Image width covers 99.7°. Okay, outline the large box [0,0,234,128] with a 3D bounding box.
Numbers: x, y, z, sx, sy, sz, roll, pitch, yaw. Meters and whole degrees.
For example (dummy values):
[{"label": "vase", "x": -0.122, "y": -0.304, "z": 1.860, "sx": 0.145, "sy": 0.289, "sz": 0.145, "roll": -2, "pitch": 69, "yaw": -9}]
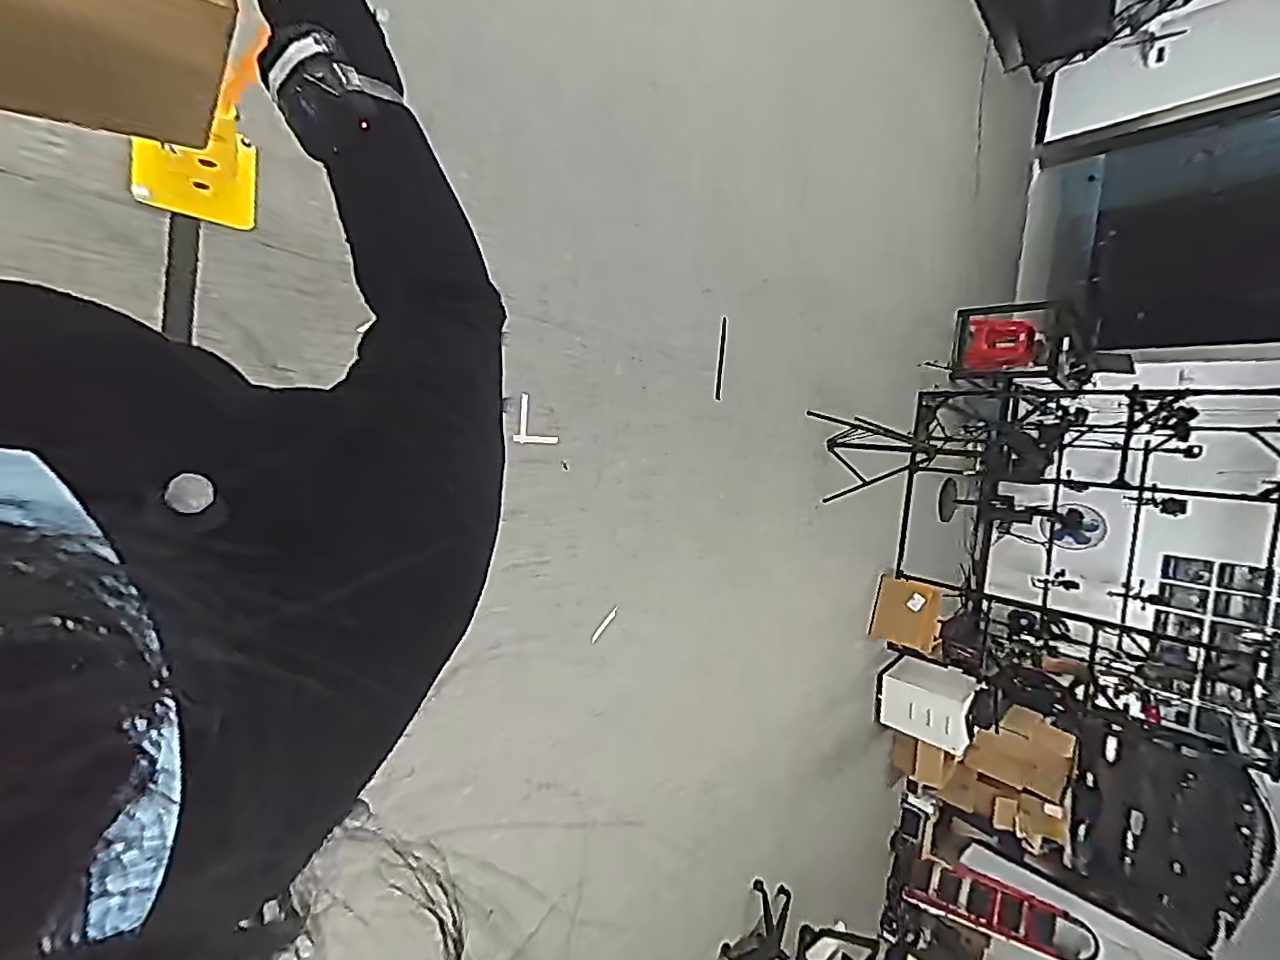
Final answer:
[{"label": "large box", "x": -0.525, "y": -0.465, "z": 0.318, "sx": 0.408, "sy": 0.320, "sz": 0.320, "roll": -12, "pitch": 106, "yaw": -40}]
